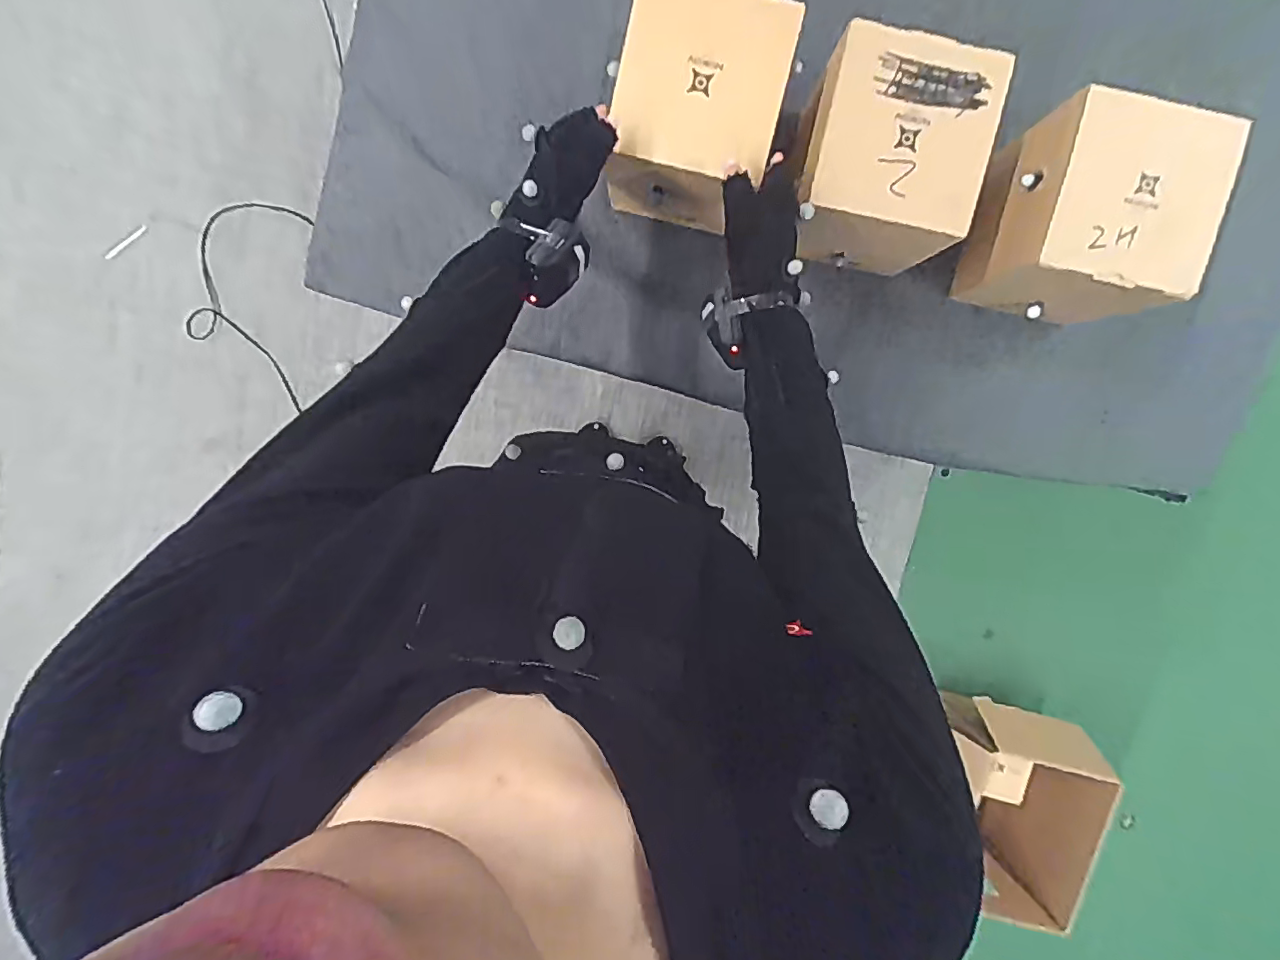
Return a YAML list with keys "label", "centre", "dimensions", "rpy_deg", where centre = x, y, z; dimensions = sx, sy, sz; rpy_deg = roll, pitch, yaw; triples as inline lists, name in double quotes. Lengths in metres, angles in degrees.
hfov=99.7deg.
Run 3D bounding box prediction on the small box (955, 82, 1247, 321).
- label: "small box"
  centre: [0.499, -0.297, 0.617]
  dimensions: [0.168, 0.176, 0.179]
  rpy_deg: [13, 97, 0]
